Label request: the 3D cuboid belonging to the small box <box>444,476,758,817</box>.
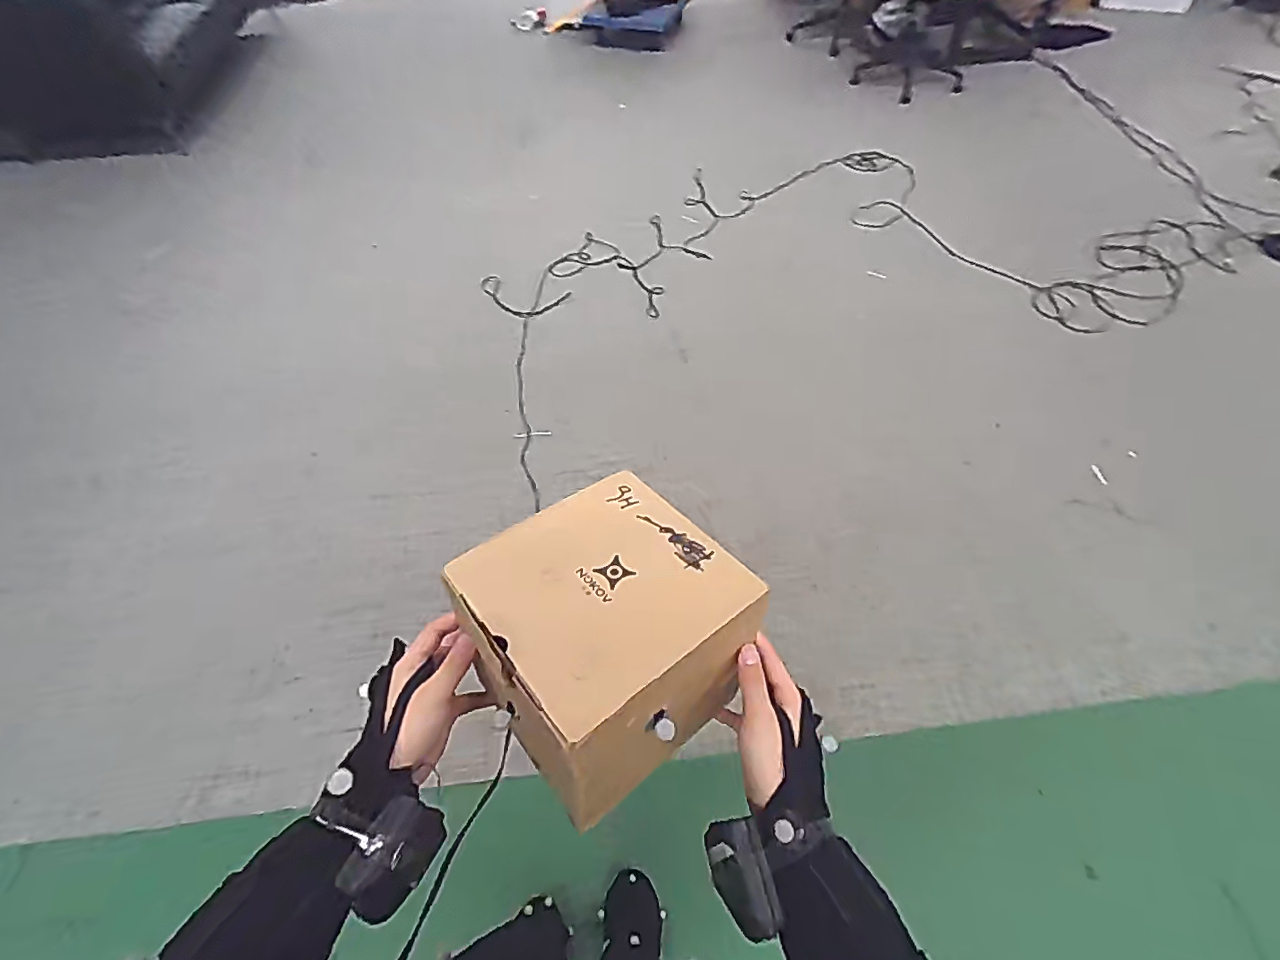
[{"bbox_3d":[-0.030,0.133,0.448,0.179,0.176,0.168,-29,51,-29],"label":"small box"}]
